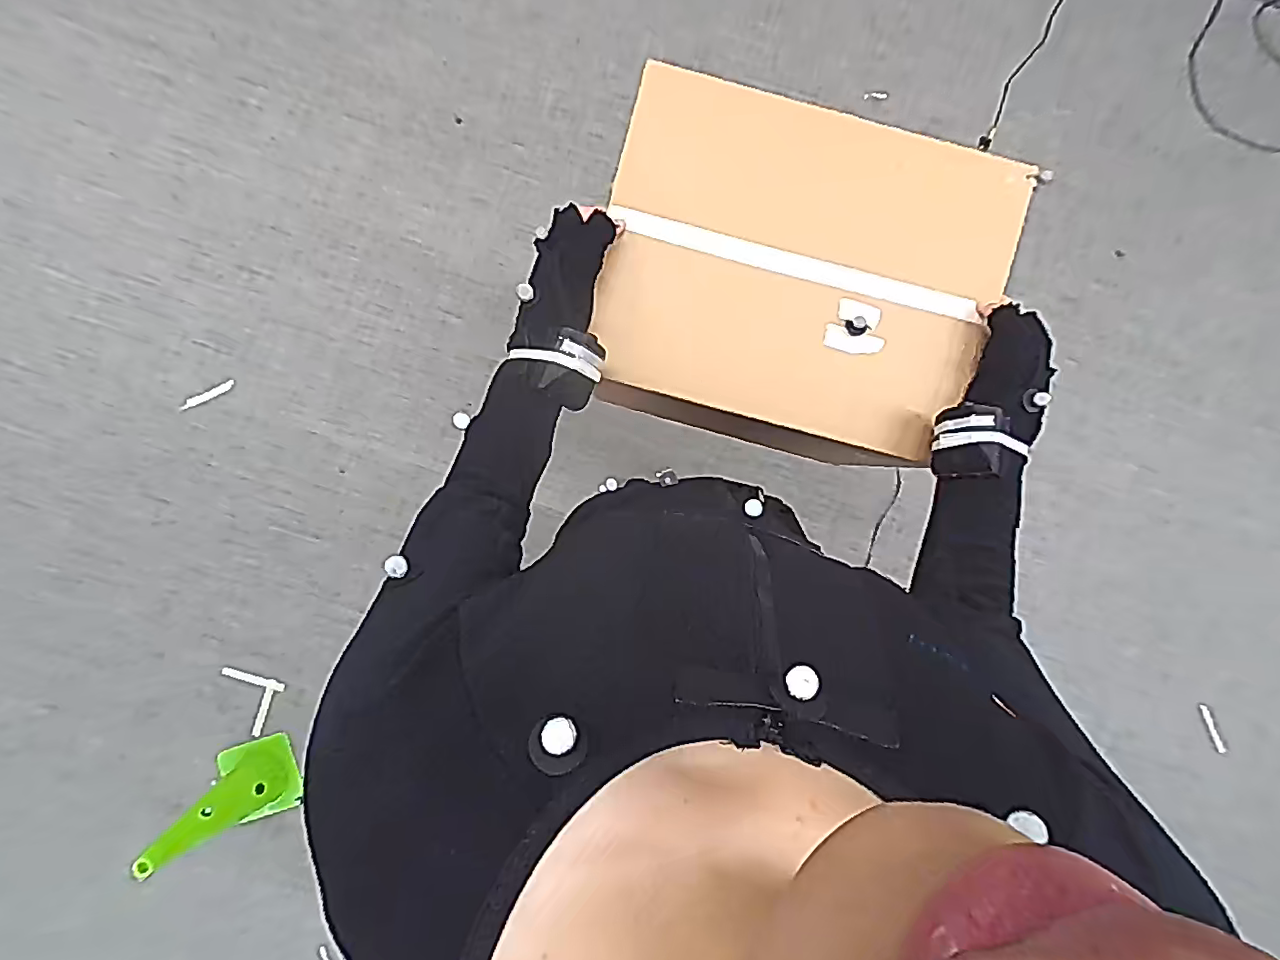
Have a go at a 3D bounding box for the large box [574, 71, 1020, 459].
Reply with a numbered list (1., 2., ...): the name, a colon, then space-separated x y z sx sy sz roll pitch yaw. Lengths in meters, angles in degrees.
1. large box: 0.155 -0.222 0.695 0.408 0.320 0.320 15 93 -1

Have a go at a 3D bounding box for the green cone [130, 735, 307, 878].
1. green cone: -1.015 0.795 1.282 0.202 0.368 0.200 -19 87 1
